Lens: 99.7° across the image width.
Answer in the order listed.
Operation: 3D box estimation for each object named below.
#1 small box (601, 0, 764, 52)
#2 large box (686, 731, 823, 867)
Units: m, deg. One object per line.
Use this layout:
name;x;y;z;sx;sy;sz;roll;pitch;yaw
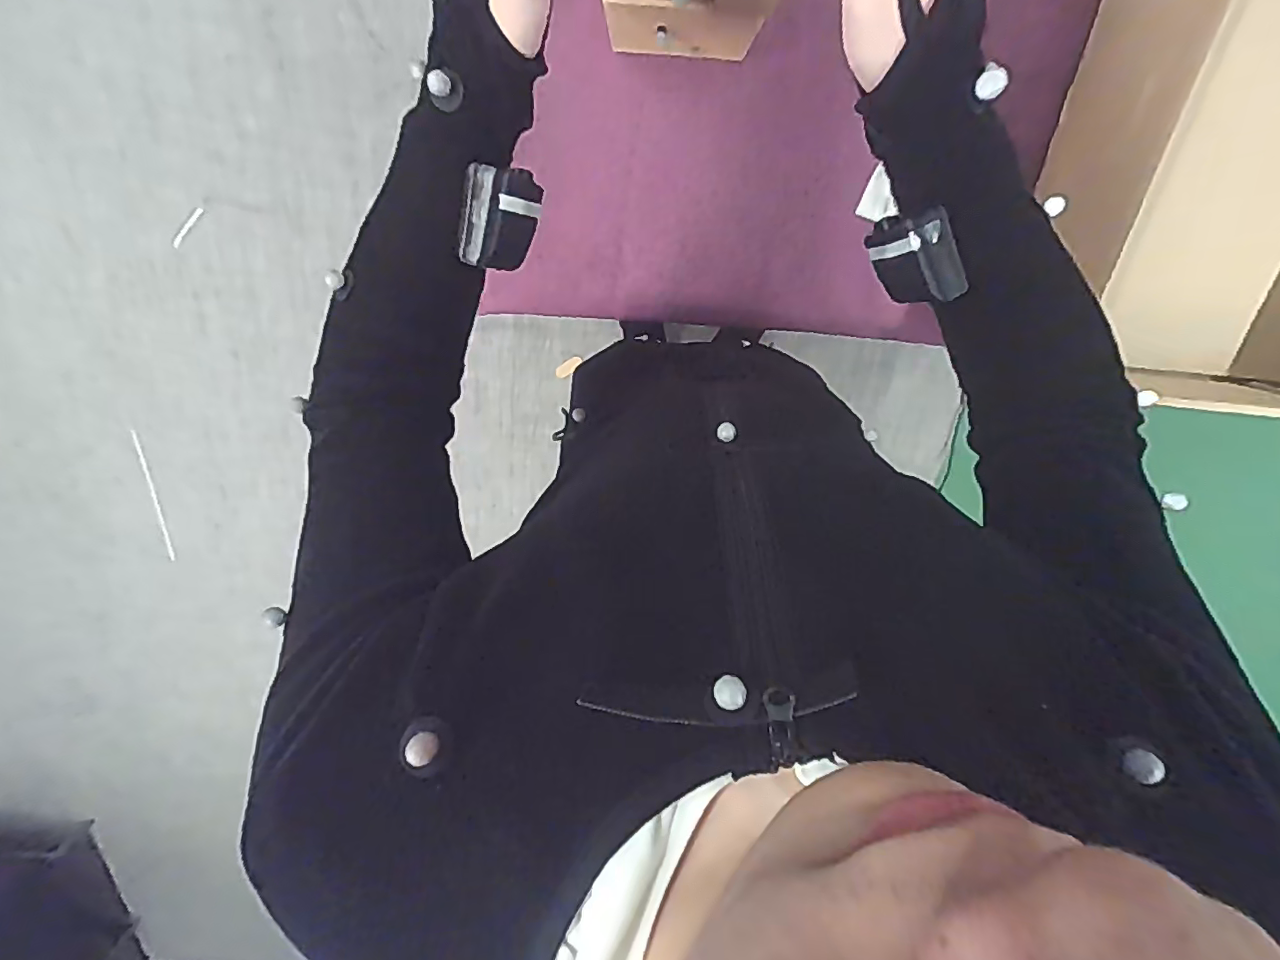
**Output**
small box;0.051;-0.579;0.565;0.168;0.176;0.179;4;114;0
large box;0.432;1.263;2.111;0.408;0.320;0.320;-25;112;11
